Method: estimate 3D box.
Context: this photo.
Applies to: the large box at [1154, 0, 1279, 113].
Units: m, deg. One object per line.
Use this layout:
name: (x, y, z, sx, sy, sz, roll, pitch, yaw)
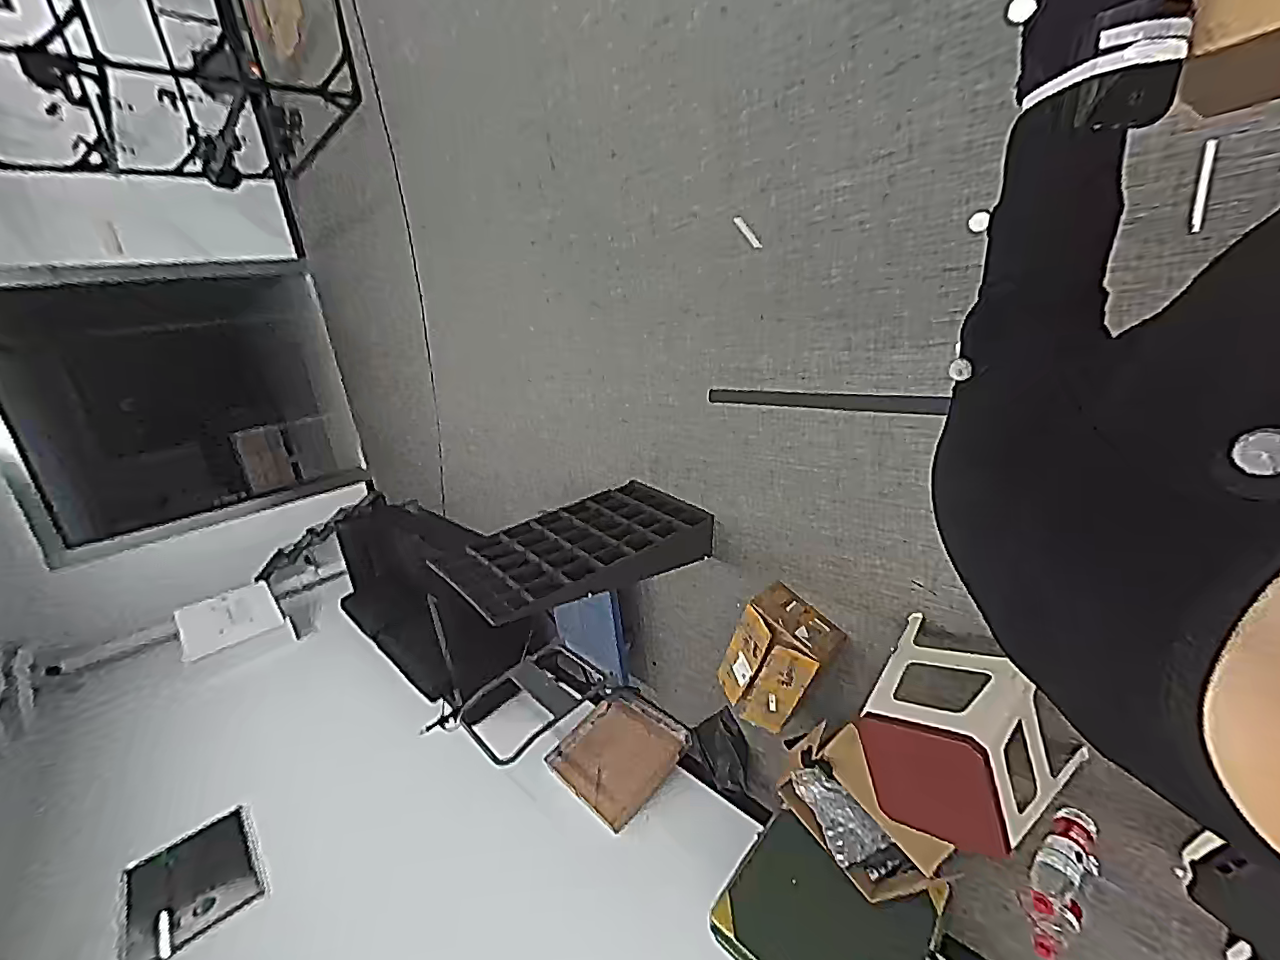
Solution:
large box: (0.549, -0.443, 0.258, 0.408, 0.320, 0.320, 9, 114, 49)
